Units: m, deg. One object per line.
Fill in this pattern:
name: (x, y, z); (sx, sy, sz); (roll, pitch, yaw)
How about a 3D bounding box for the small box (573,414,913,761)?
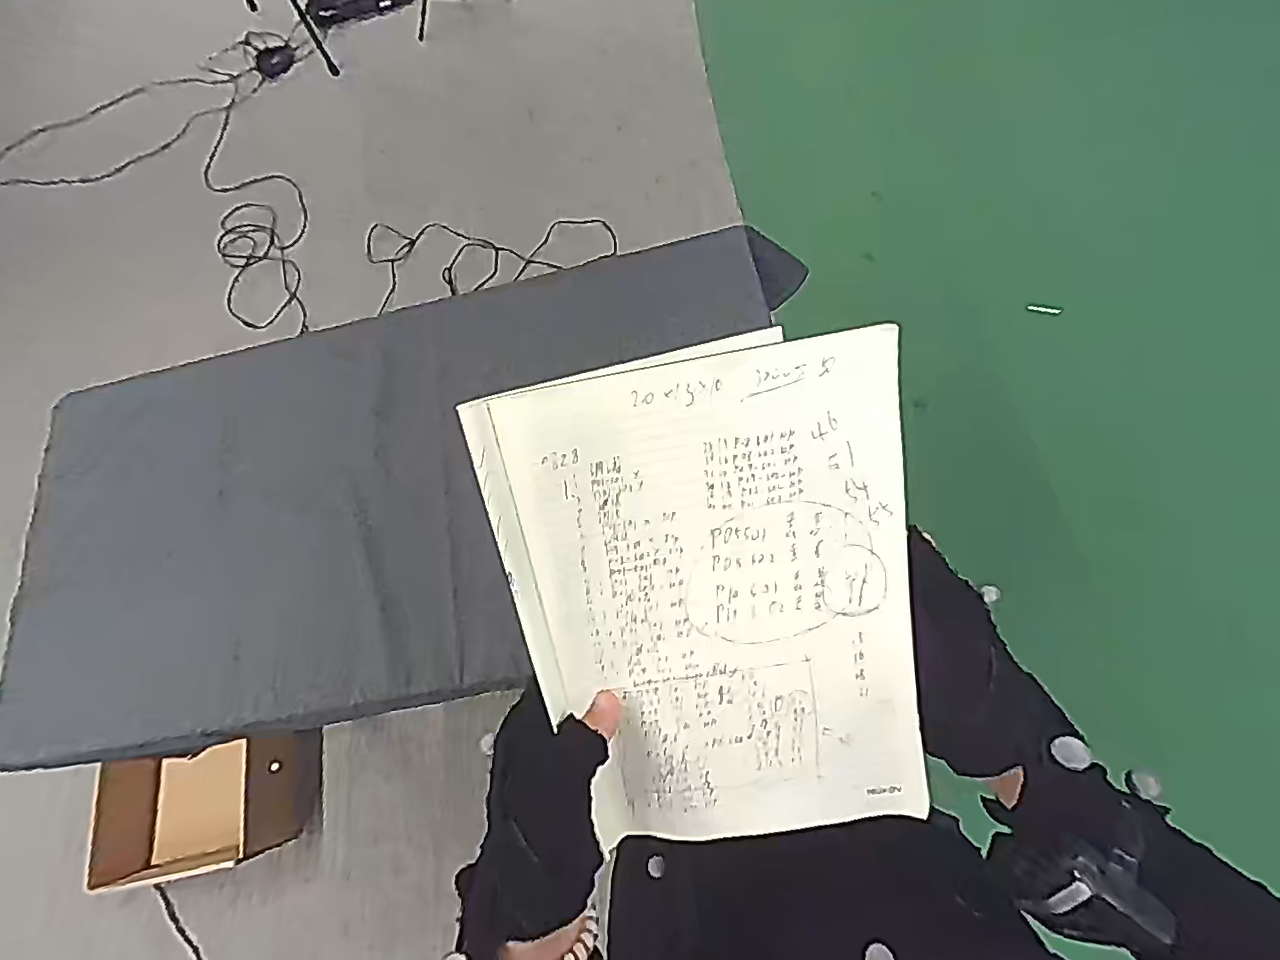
small box: (0.063, 0.075, 0.409); (0.168, 0.176, 0.179); (-19, 79, 2)
